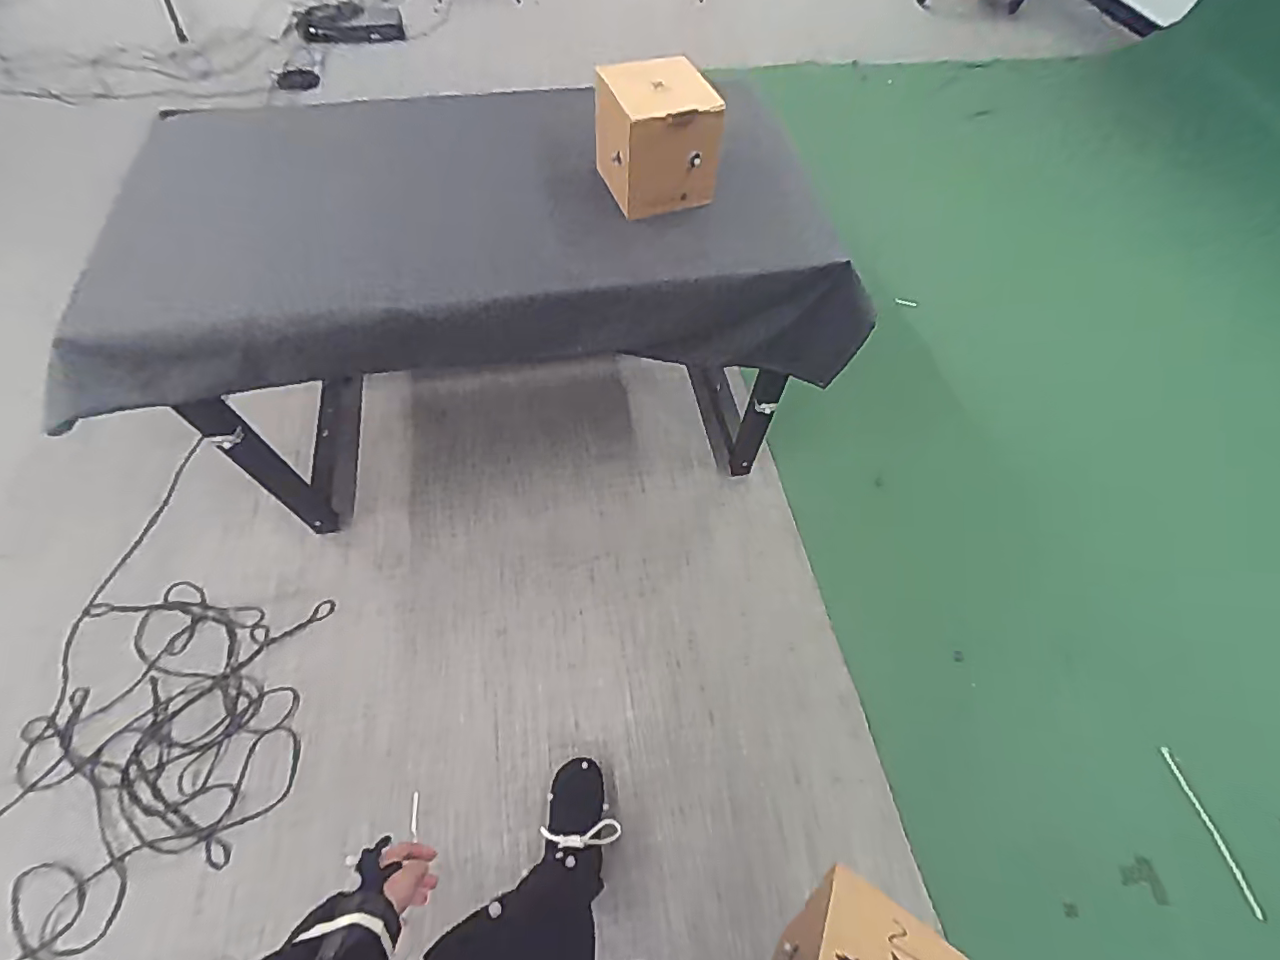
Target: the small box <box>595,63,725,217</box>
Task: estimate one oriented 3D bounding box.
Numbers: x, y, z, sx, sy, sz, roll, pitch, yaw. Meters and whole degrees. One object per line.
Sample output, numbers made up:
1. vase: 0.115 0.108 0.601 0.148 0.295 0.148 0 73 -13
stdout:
1. small box: 0.027 -0.581 0.939 0.168 0.176 0.179 -17 61 -14
